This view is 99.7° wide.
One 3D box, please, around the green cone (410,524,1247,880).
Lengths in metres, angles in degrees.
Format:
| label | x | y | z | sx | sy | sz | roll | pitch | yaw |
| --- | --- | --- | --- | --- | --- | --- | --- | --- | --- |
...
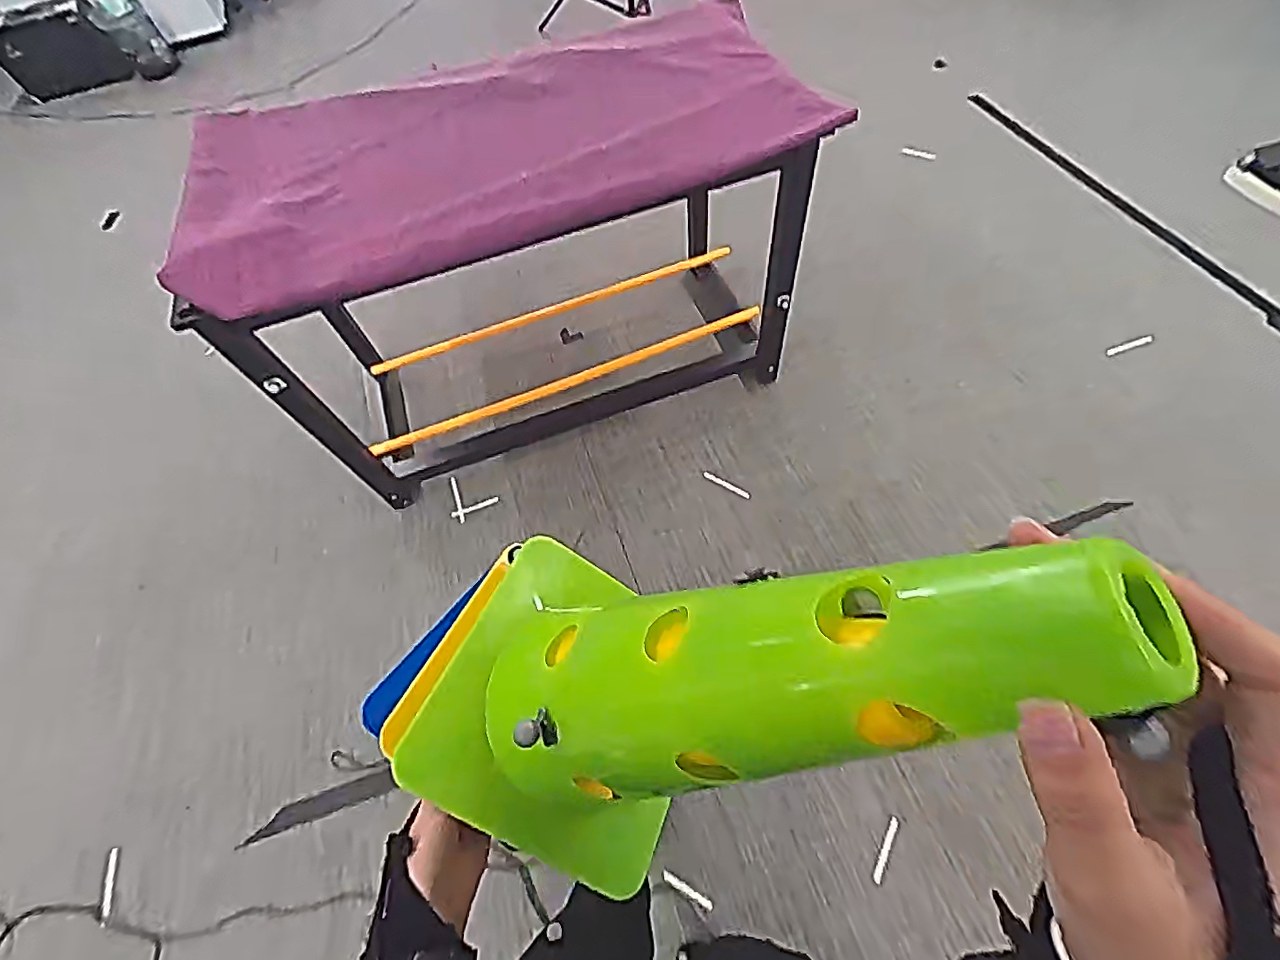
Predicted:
| label | x | y | z | sx | sy | sz | roll | pitch | yaw |
| --- | --- | --- | --- | --- | --- | --- | --- | --- | --- |
| green cone | 0.044 | 0.091 | 0.271 | 0.200 | 0.368 | 0.202 | 36 | 55 | -11 |
